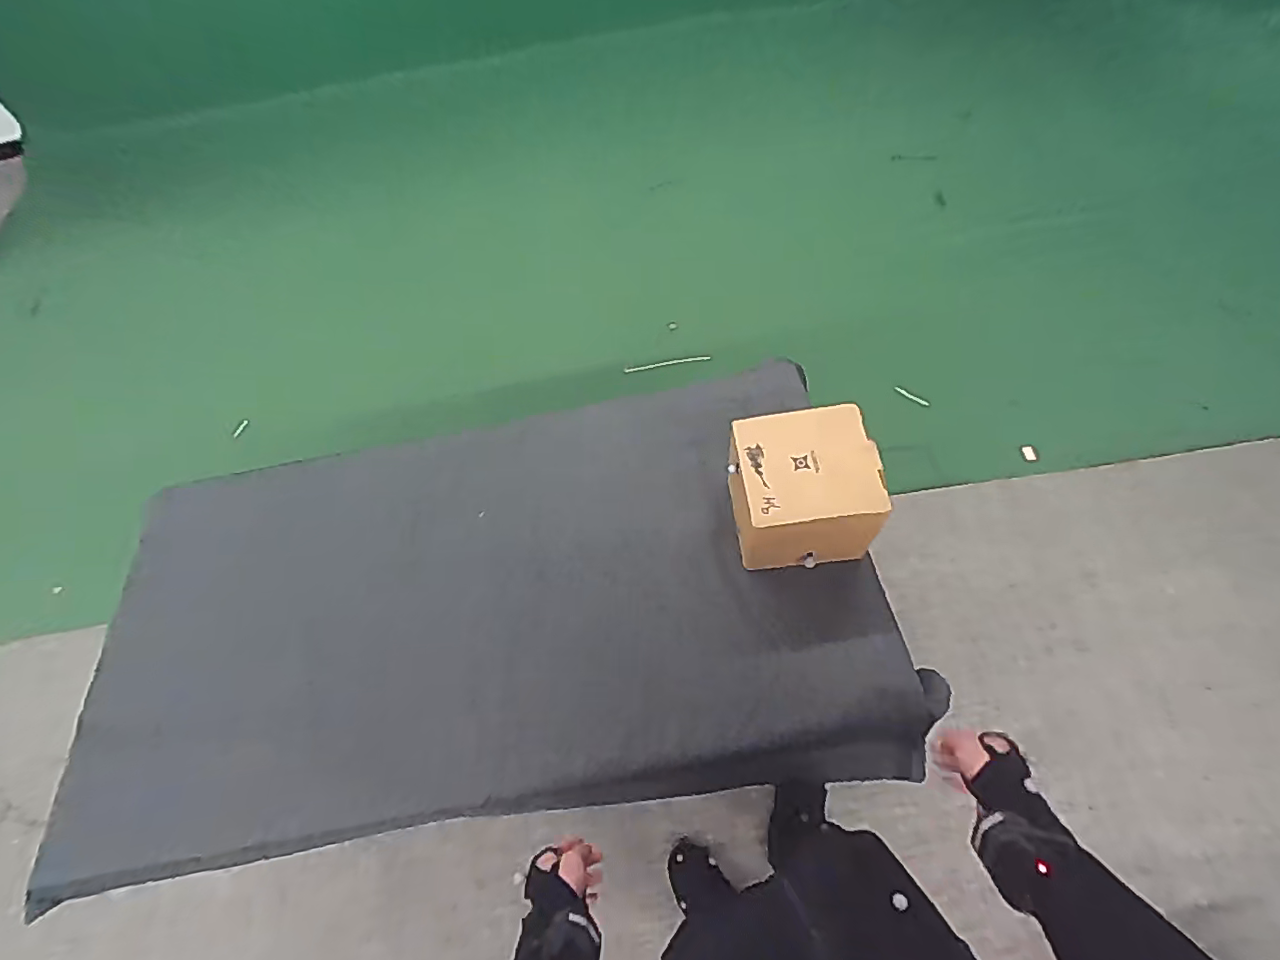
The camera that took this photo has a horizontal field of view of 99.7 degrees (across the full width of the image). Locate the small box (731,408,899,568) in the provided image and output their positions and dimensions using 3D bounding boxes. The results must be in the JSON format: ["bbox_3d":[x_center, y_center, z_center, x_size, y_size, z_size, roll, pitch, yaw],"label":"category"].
[{"bbox_3d":[0.232,0.017,0.771,0.179,0.176,0.168,-6,62,2],"label":"small box"}]
